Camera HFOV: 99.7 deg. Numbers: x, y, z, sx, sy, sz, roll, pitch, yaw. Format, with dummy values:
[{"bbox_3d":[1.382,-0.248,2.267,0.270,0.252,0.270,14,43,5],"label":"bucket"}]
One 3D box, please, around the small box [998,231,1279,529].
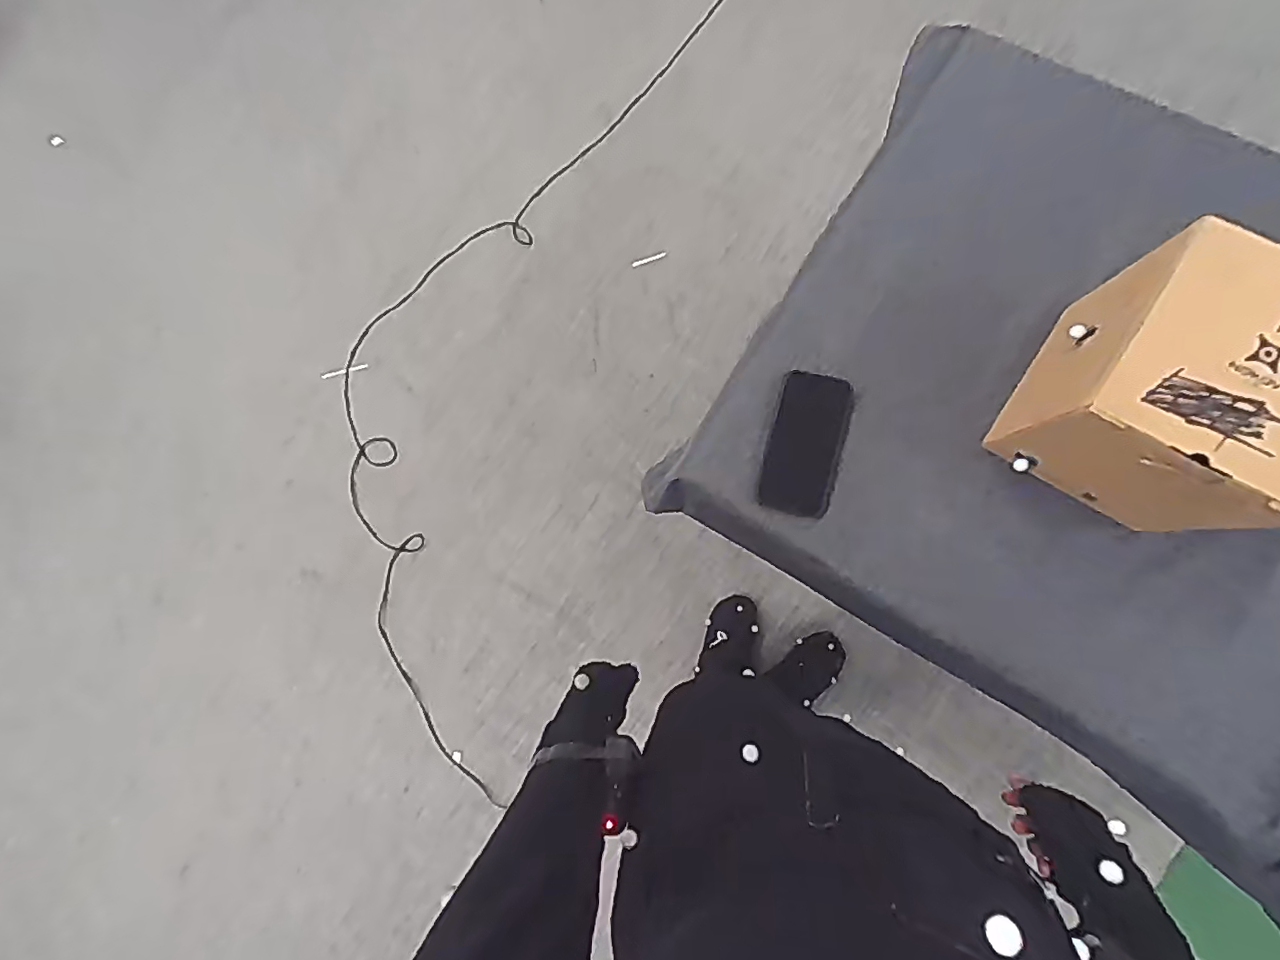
[{"bbox_3d":[0.464,-0.069,0.479,0.168,0.176,0.179,32,87,10],"label":"small box"}]
